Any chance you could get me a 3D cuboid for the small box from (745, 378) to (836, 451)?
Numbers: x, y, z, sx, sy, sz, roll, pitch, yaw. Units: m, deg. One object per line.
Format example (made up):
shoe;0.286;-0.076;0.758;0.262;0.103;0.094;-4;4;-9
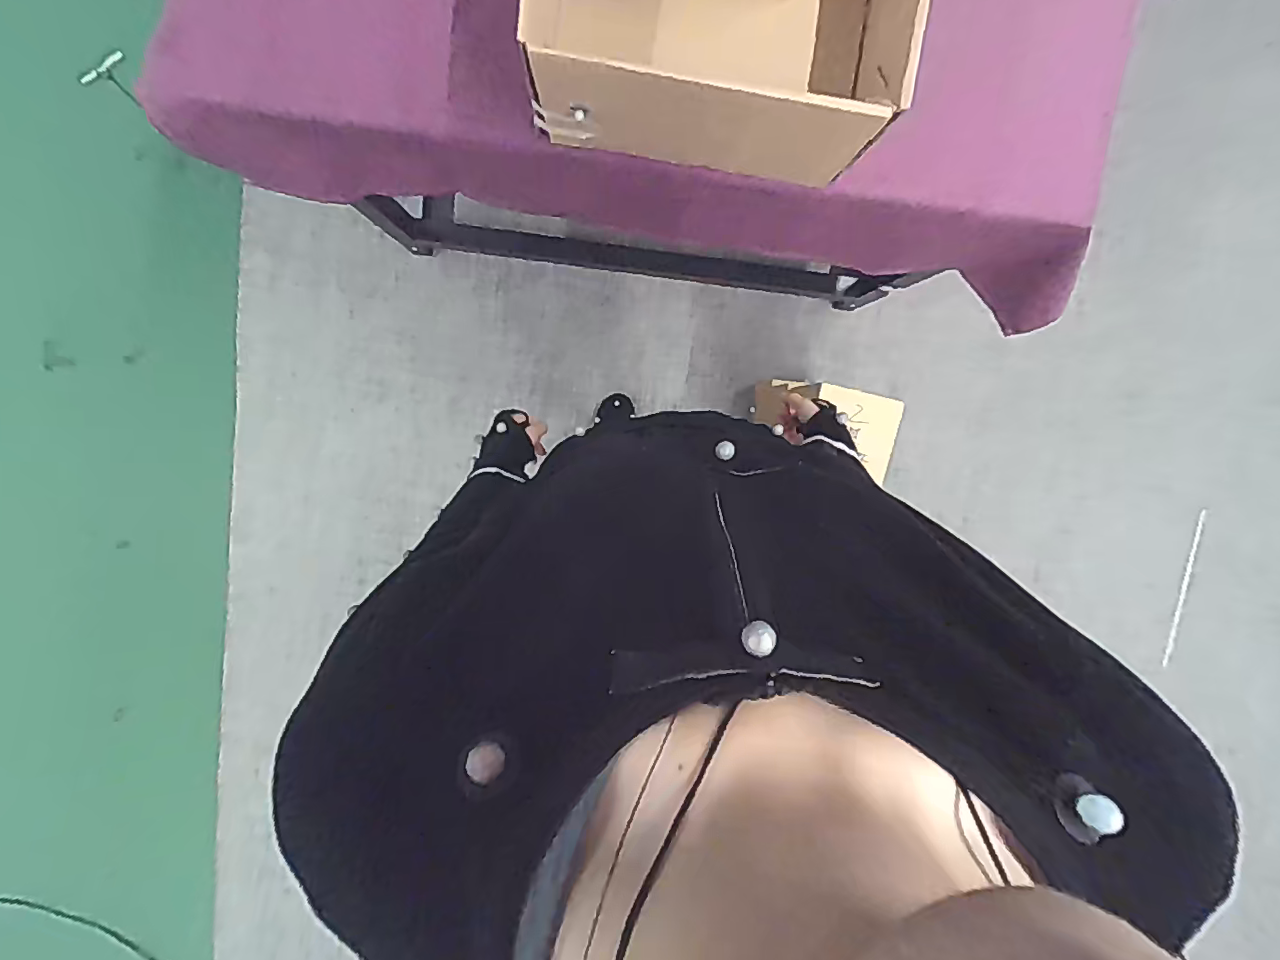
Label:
small box;0.387;-0.172;1.418;0.179;0.176;0.168;6;97;-2
